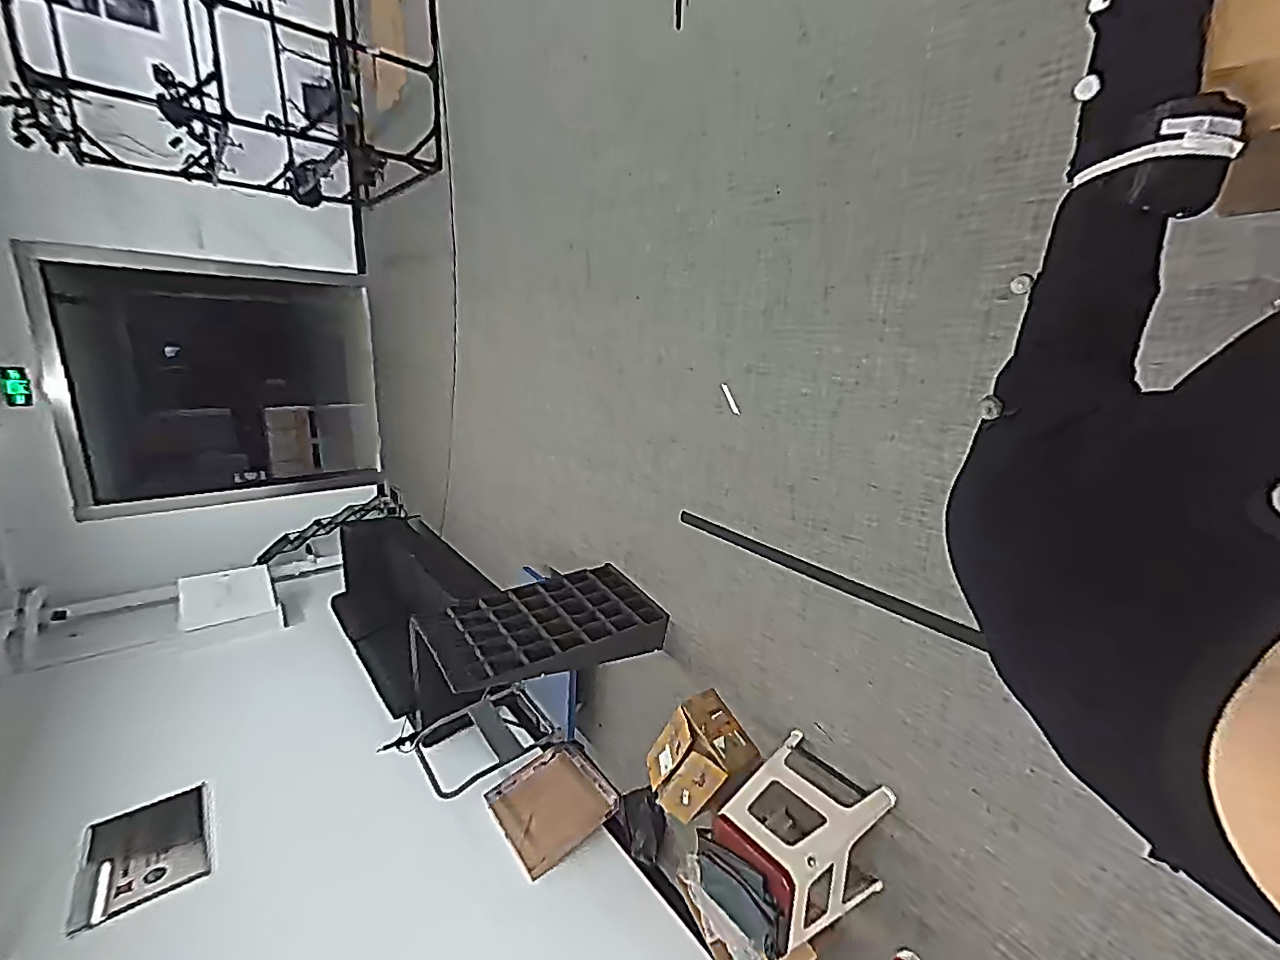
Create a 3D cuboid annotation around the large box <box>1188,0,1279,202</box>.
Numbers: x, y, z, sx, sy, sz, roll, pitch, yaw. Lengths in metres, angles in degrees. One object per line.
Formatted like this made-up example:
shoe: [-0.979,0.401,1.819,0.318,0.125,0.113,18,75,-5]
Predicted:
large box: [0.633,-0.395,0.309,0.408,0.320,0.320,14,109,48]
